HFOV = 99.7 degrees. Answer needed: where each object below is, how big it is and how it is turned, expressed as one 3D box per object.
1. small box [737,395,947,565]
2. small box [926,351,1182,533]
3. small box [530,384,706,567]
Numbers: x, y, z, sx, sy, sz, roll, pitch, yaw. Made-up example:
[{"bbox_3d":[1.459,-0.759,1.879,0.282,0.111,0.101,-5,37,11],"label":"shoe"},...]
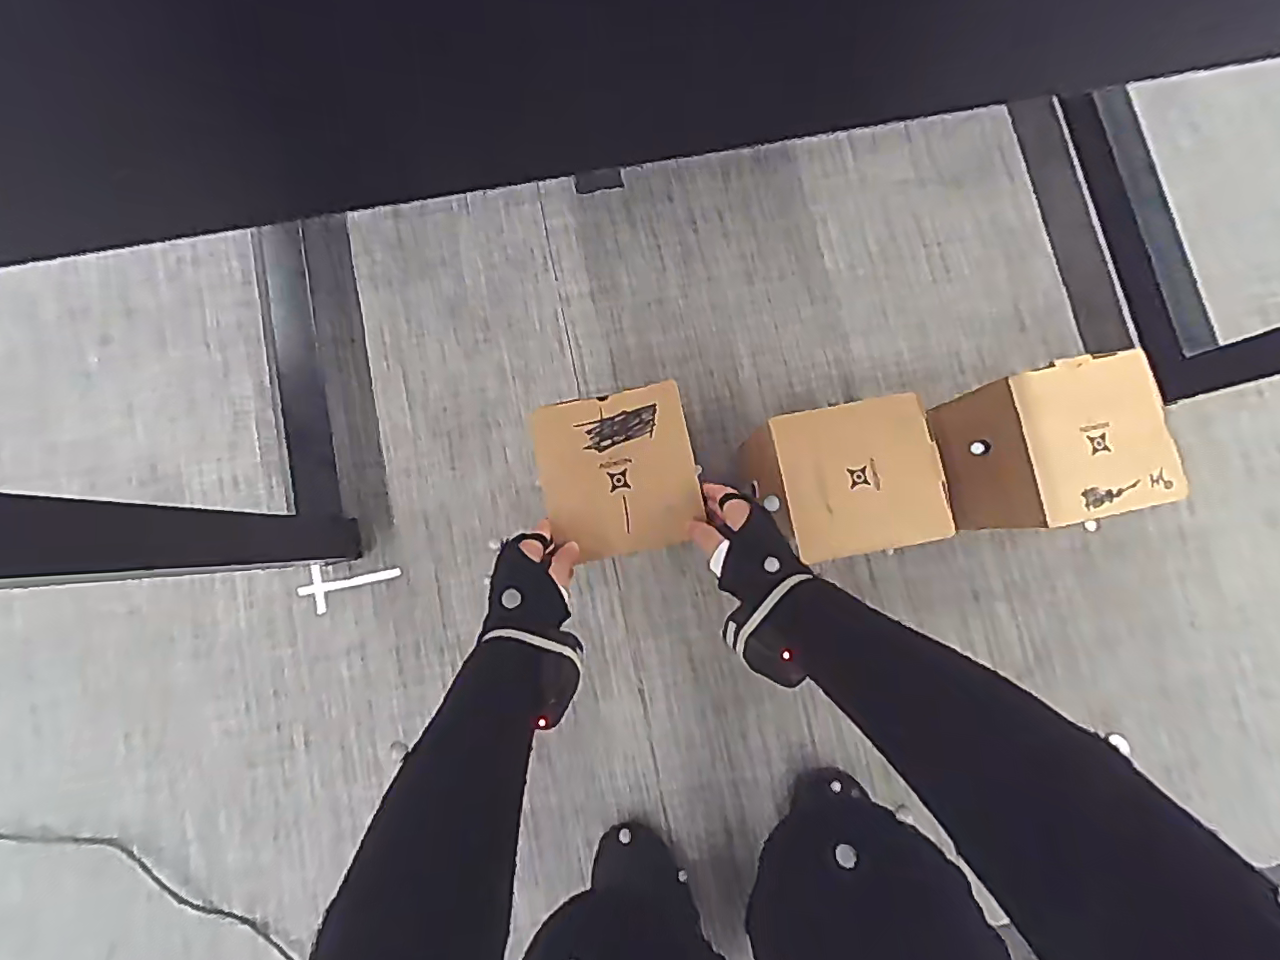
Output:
[{"bbox_3d":[0.232,0.006,0.667,0.179,0.176,0.168,-10,83,-1],"label":"small box"},{"bbox_3d":[0.492,-0.037,0.675,0.168,0.176,0.179,-12,83,-2],"label":"small box"},{"bbox_3d":[-0.026,0.003,0.659,0.168,0.176,0.179,-12,84,-1],"label":"small box"}]
